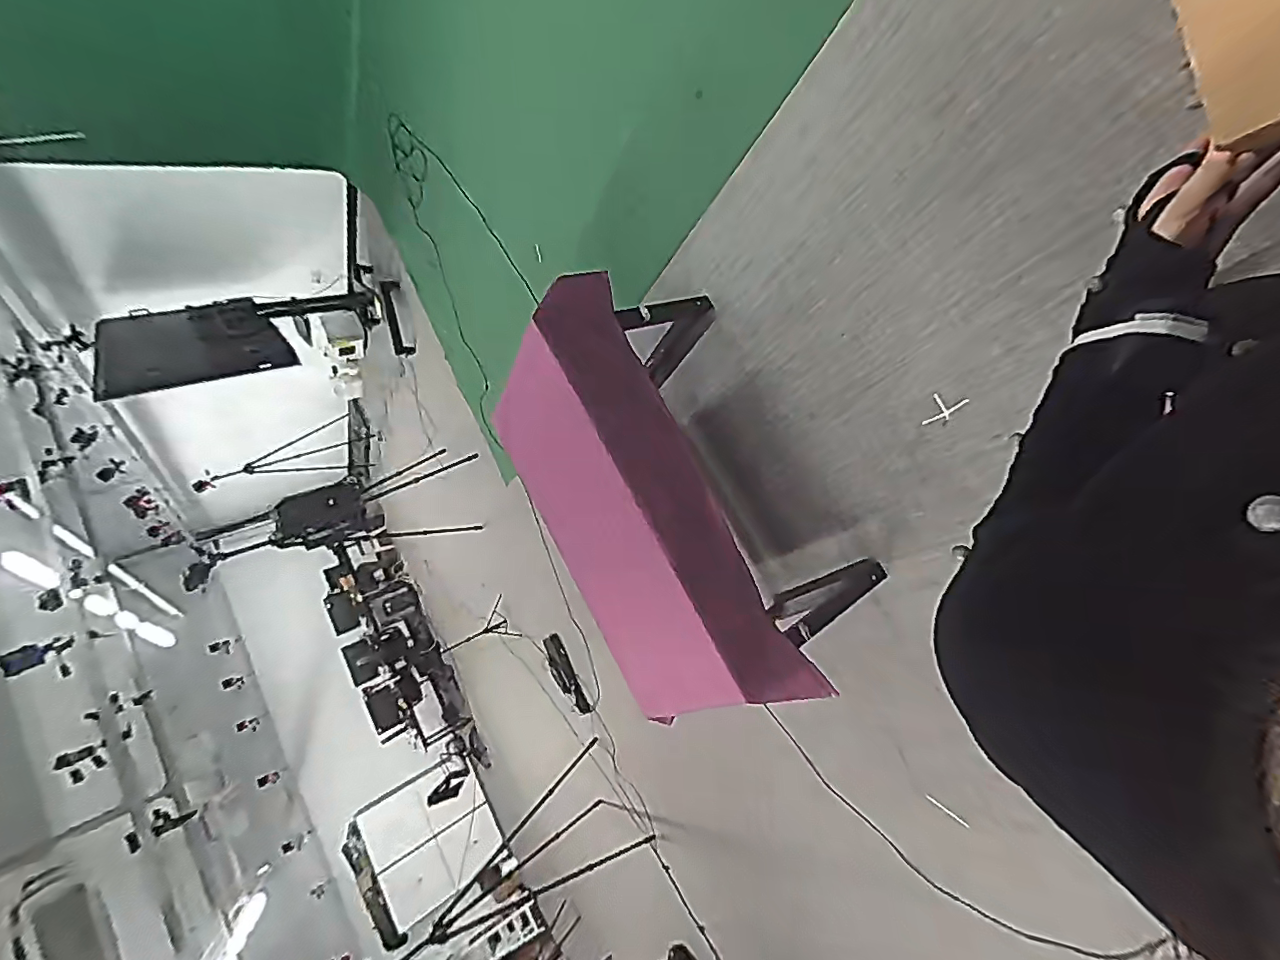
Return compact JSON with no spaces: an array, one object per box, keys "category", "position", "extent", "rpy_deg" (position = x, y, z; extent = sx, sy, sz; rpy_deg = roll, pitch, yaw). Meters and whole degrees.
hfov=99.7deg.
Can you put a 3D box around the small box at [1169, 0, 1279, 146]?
[{"category":"small box","position":[0.417,-0.318,0.295],"extent":[0.168,0.176,0.179],"rpy_deg":[-13,99,55]}]
